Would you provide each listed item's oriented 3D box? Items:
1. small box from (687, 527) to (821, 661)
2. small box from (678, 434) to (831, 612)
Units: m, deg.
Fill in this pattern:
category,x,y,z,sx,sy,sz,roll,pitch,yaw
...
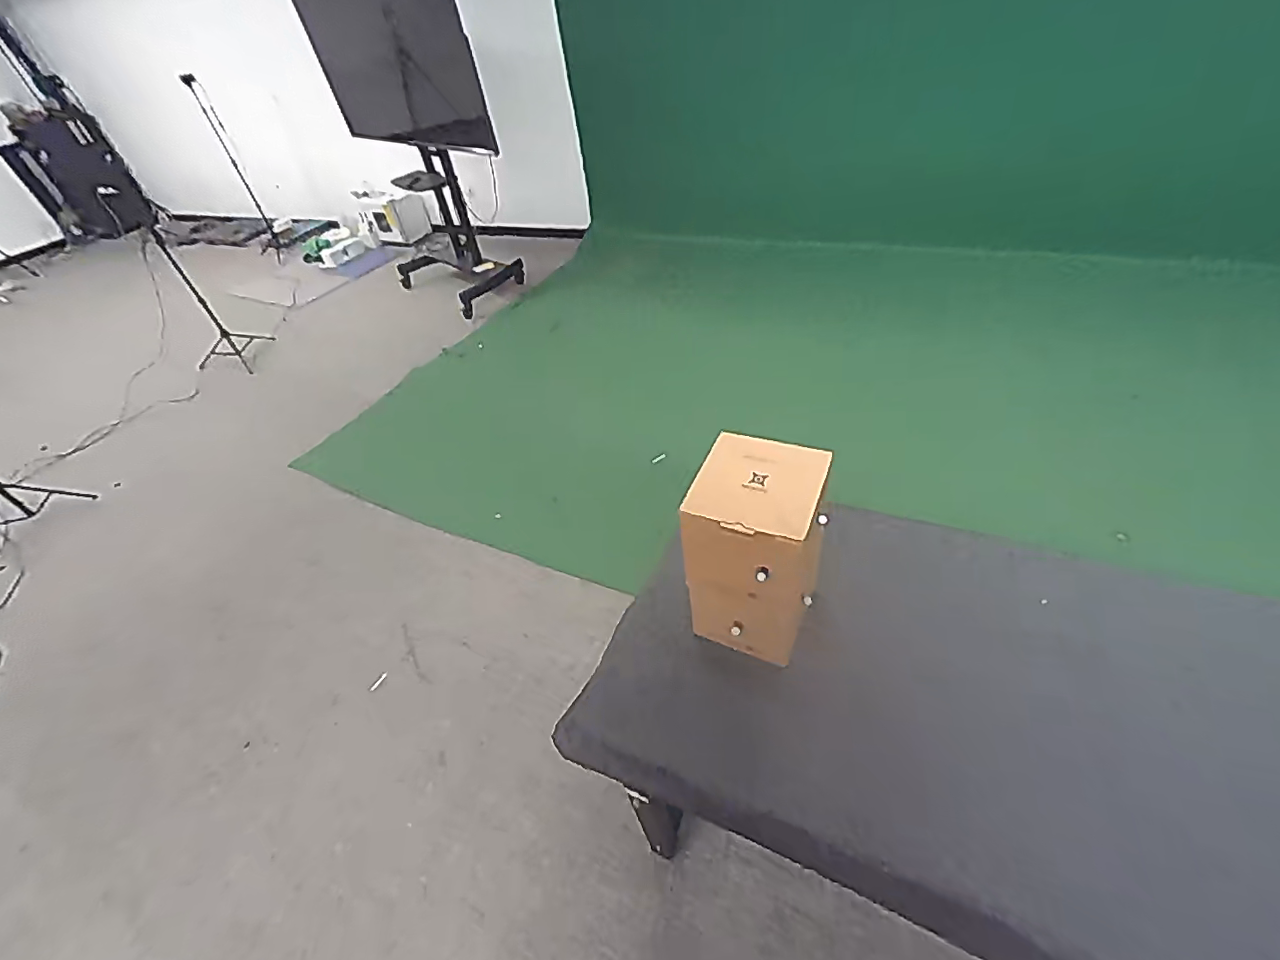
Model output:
category,x,y,z,sx,sy,sz,roll,pitch,yaw
small box,0.193,0.171,0.906,0.168,0.176,0.179,16,49,24
small box,0.168,0.062,0.787,0.168,0.176,0.179,14,47,22
